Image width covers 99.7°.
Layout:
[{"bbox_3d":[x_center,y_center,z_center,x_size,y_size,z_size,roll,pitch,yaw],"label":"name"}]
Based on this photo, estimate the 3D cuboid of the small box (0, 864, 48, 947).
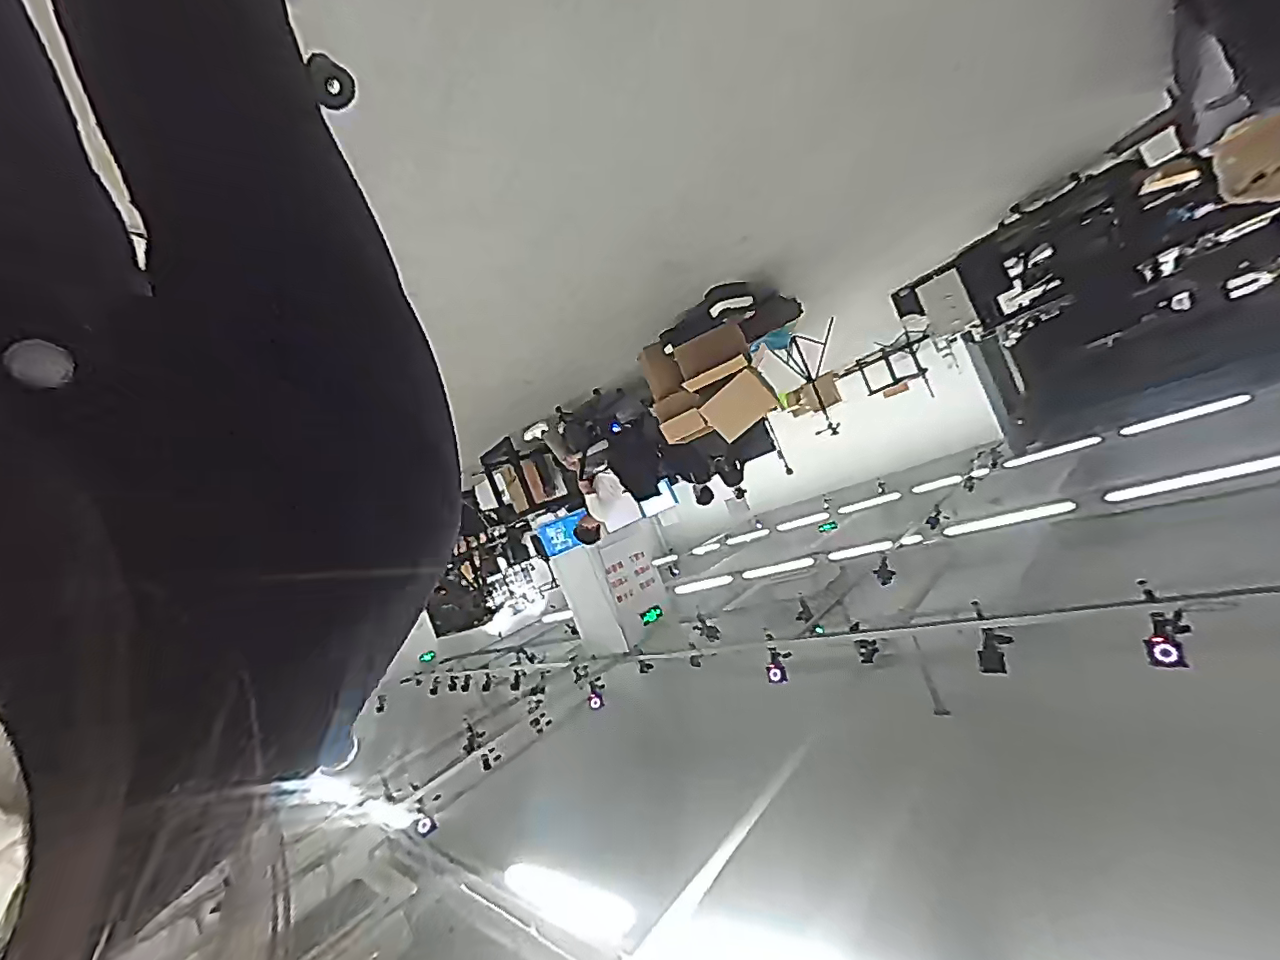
[{"bbox_3d":[-1.902,1.277,1.587,0.168,0.176,0.179,-19,173,-39],"label":"small box"}]
